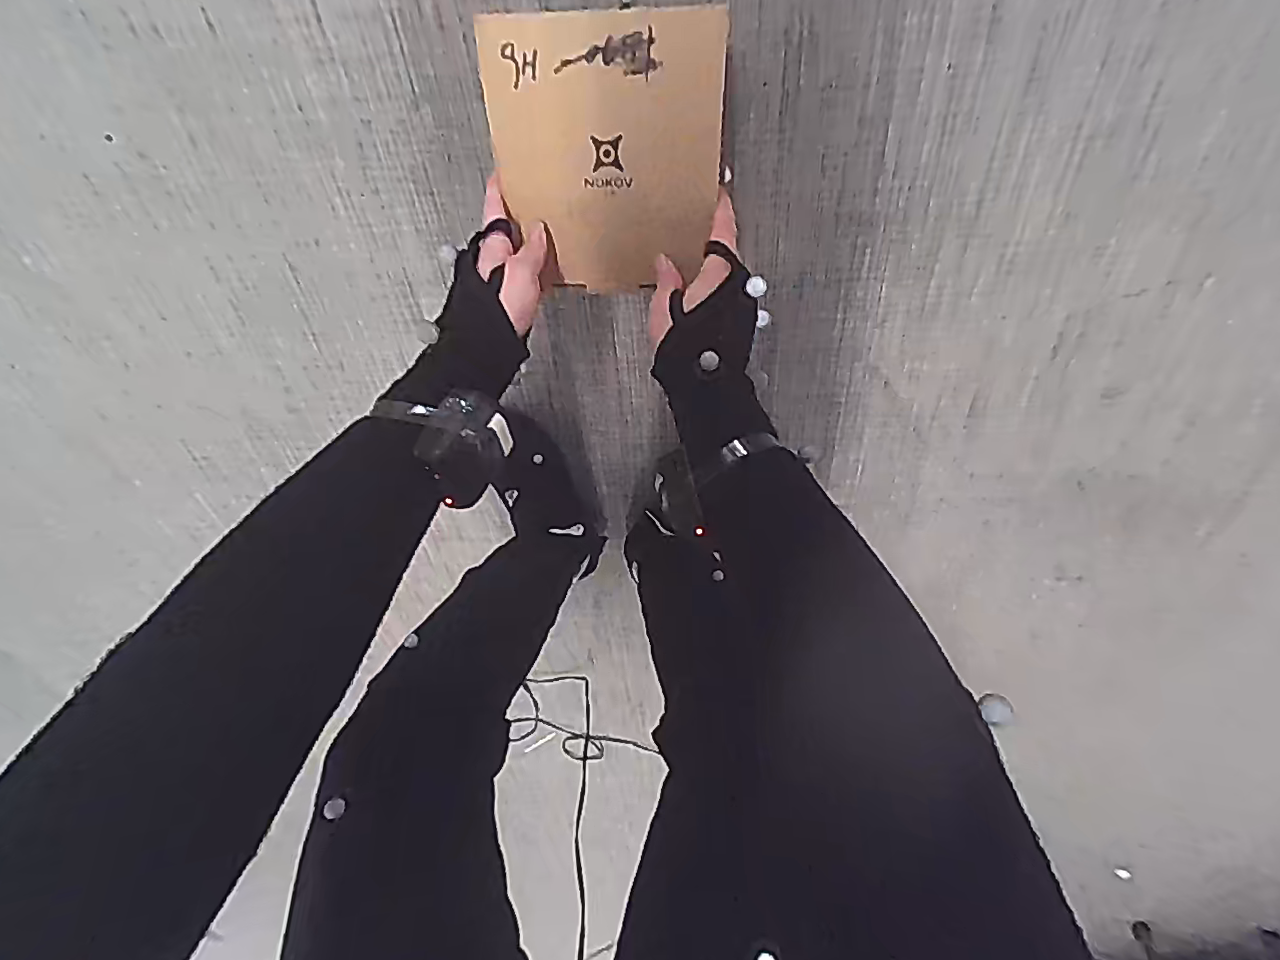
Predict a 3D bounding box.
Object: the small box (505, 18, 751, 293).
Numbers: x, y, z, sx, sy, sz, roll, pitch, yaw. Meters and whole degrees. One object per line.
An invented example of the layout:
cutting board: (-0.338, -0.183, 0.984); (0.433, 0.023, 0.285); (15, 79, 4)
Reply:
small box: (0.001, -0.277, 0.465); (0.168, 0.176, 0.179); (1, 128, 5)
